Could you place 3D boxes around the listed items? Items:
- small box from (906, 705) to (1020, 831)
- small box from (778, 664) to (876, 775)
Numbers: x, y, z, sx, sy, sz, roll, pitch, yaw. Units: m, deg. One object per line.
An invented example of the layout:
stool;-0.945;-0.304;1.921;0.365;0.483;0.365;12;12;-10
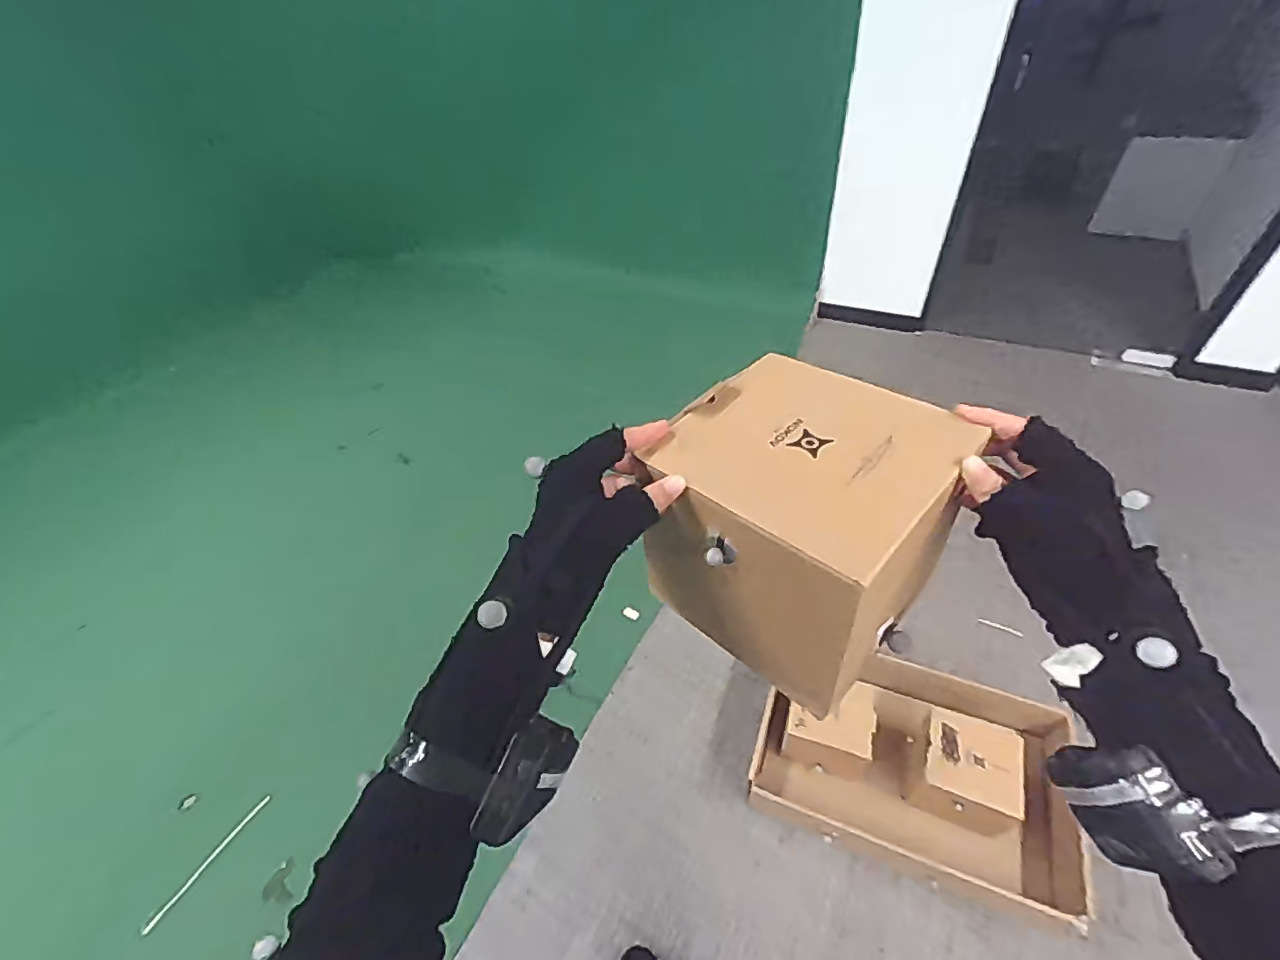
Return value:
small box;0.690;0.624;1.167;0.179;0.176;0.168;15;50;21
small box;0.432;0.563;1.260;0.179;0.176;0.168;12;49;16
